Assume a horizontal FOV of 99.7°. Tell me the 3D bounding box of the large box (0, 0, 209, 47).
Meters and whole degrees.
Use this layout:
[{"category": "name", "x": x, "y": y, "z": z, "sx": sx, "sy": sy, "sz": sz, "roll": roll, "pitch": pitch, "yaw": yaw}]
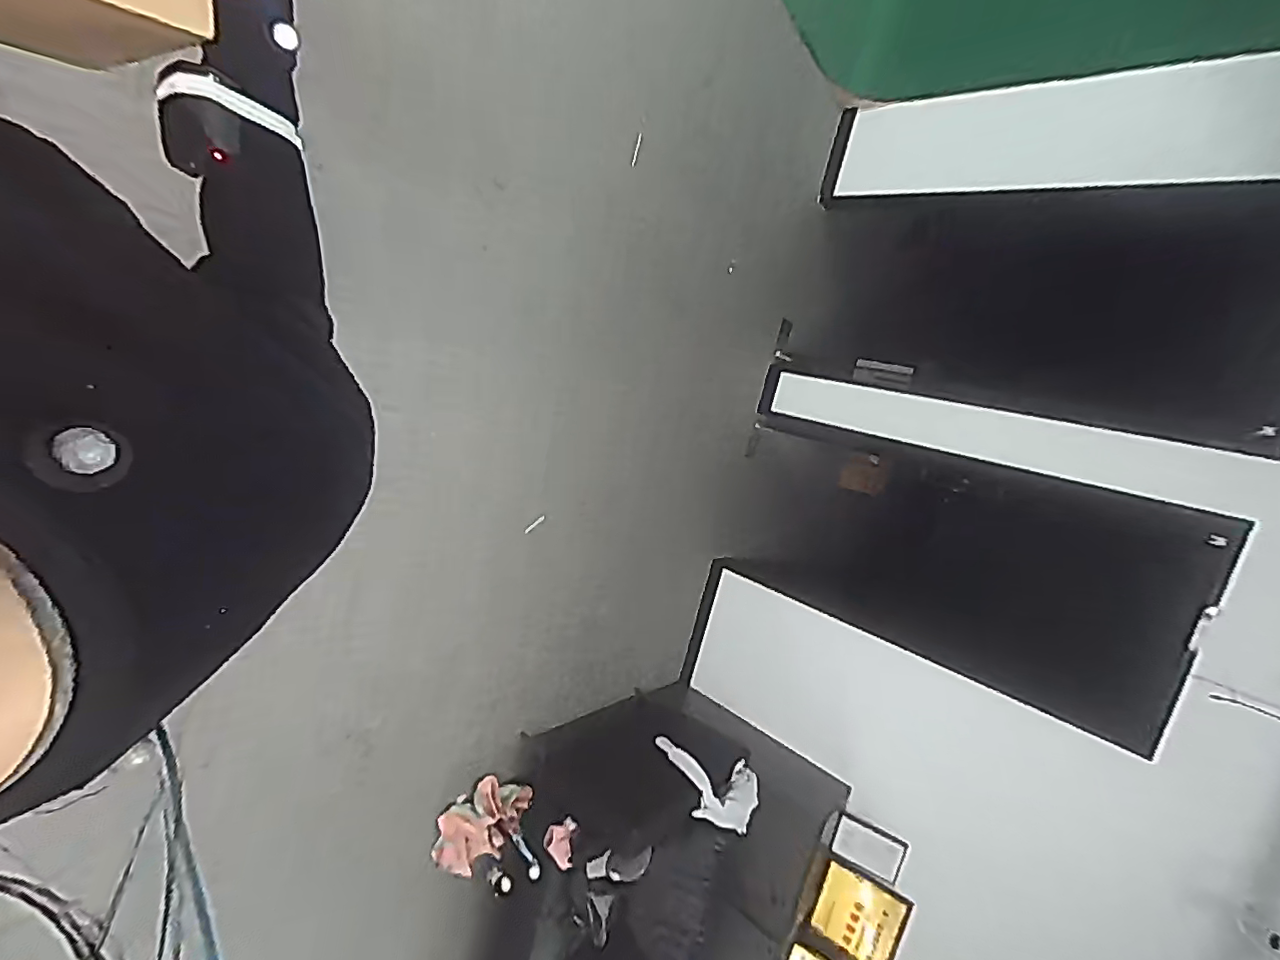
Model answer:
[{"category": "large box", "x": -0.534, "y": -0.485, "z": 0.274, "sx": 0.408, "sy": 0.320, "sz": 0.320, "roll": -19, "pitch": 124, "yaw": -51}]
